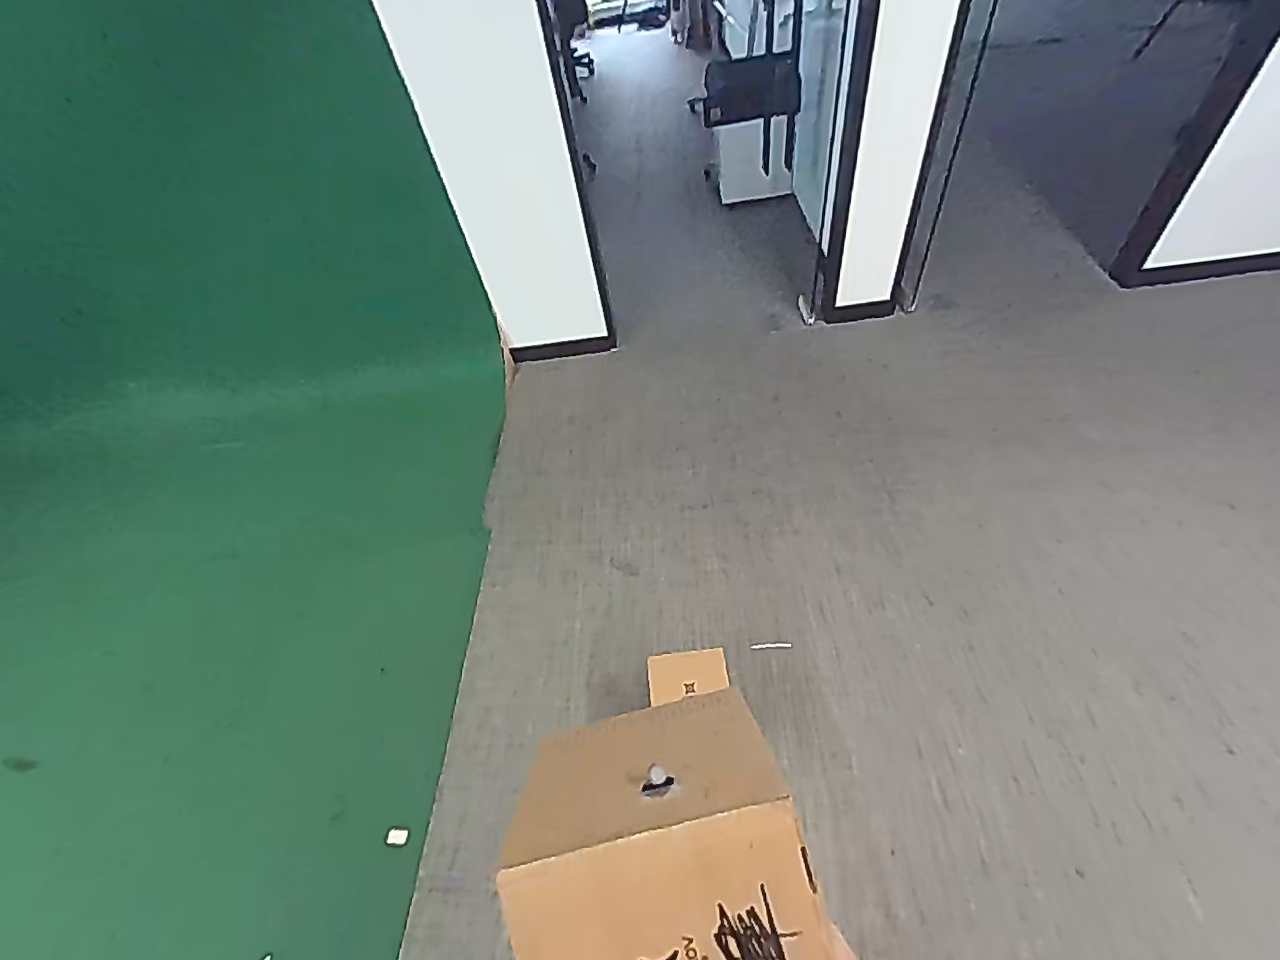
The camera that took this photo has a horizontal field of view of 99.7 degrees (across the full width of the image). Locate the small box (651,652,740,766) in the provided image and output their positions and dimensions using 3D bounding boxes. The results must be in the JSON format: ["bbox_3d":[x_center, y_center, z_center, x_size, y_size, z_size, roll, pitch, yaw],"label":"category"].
[{"bbox_3d":[0.120,0.496,1.168,0.168,0.176,0.179,-9,50,4],"label":"small box"}]
